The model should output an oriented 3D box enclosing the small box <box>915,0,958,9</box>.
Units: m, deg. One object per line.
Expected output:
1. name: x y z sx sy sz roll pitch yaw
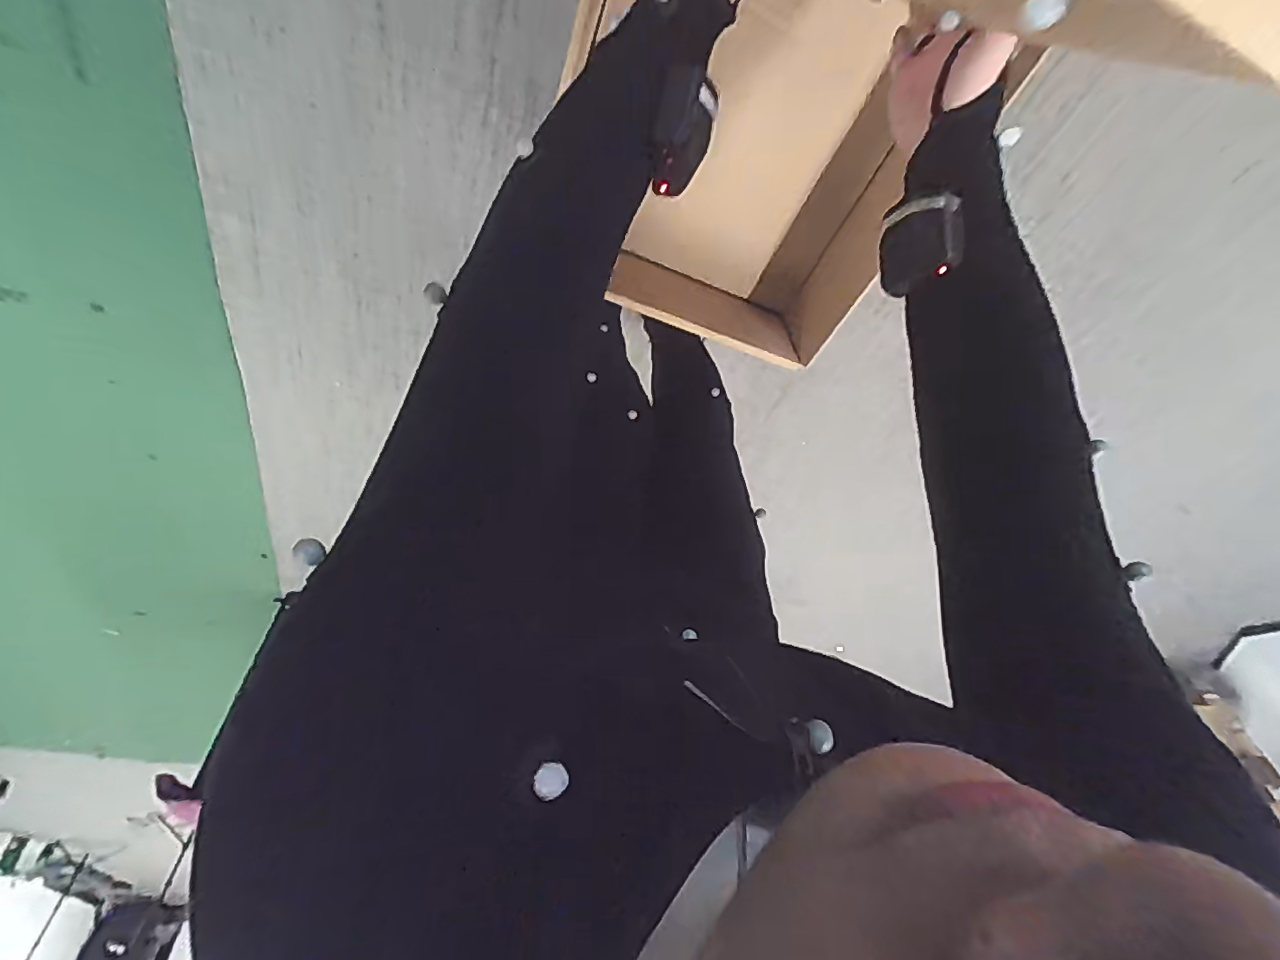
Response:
1. small box: 0.201 -0.509 0.413 0.179 0.176 0.168 16 131 -16
